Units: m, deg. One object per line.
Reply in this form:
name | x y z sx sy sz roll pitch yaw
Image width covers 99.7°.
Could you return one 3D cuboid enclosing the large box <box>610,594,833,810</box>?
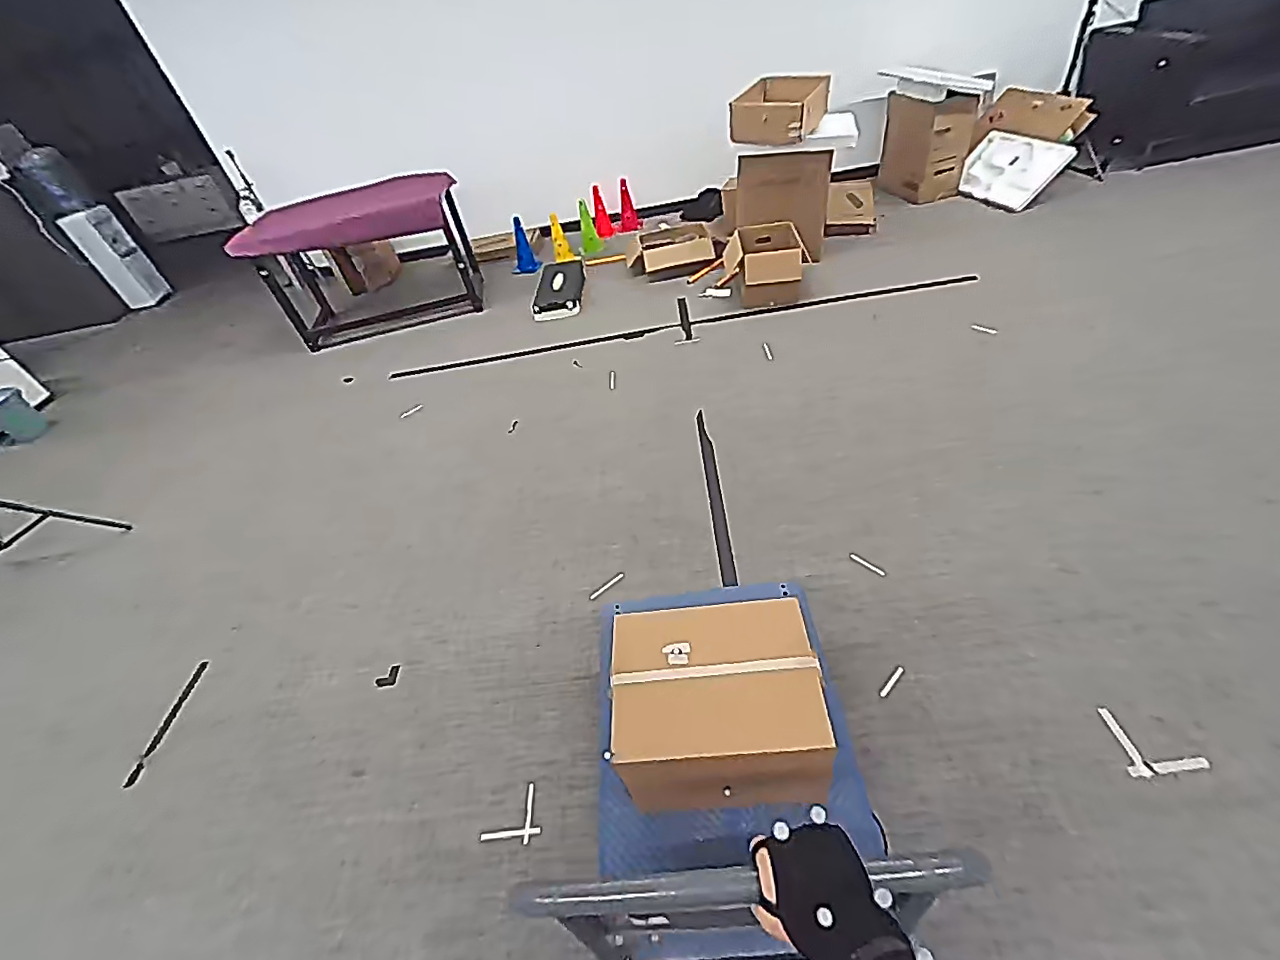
large box | 0.165 0.483 1.165 0.408 0.320 0.320 -9 42 6
